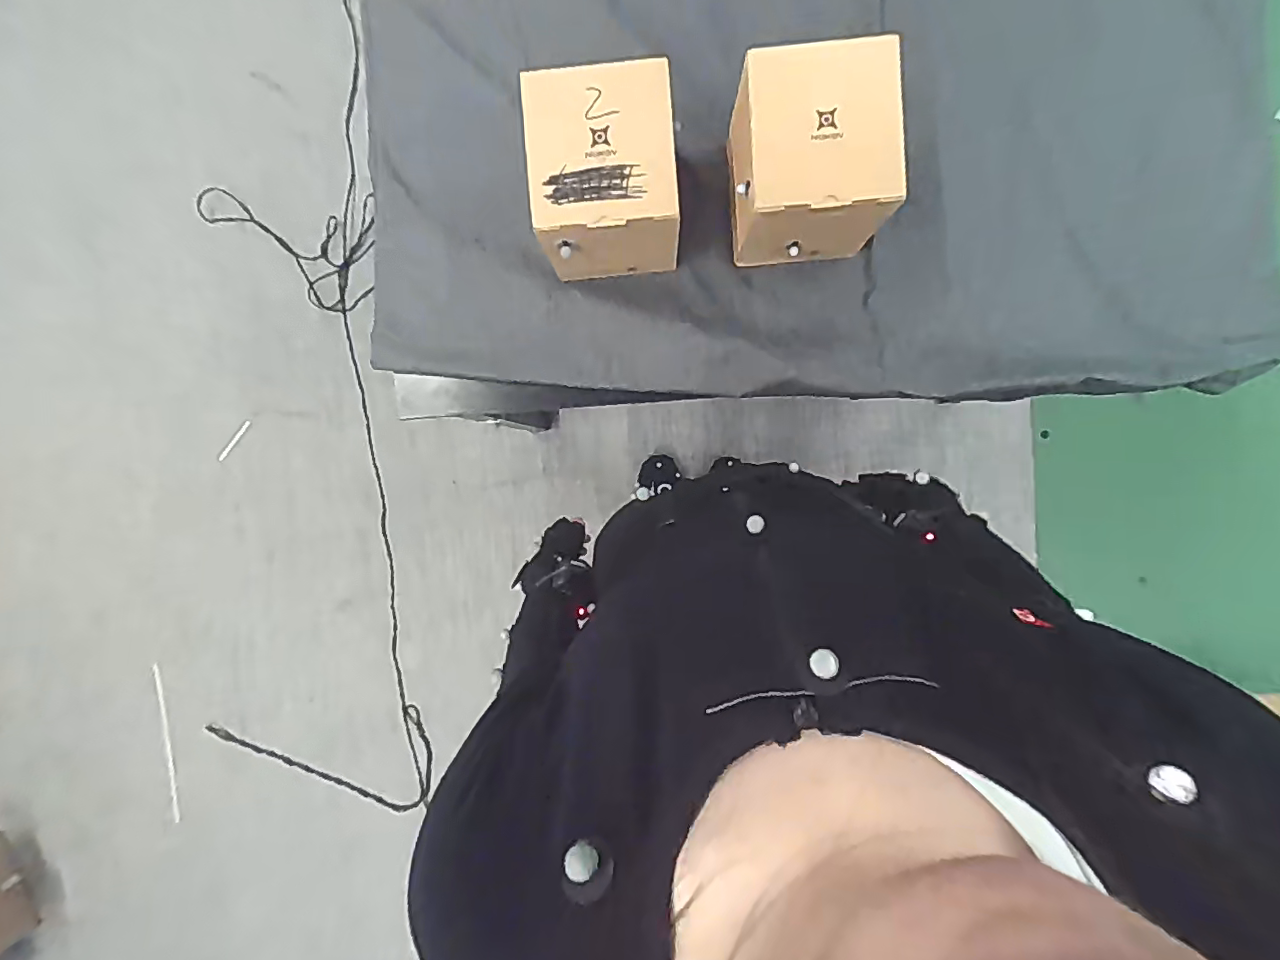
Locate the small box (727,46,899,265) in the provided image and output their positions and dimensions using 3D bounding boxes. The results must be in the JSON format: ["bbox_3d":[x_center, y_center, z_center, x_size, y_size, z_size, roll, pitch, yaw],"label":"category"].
[{"bbox_3d":[0.205,-0.392,0.682,0.168,0.176,0.179,-4,93,2],"label":"small box"}]
